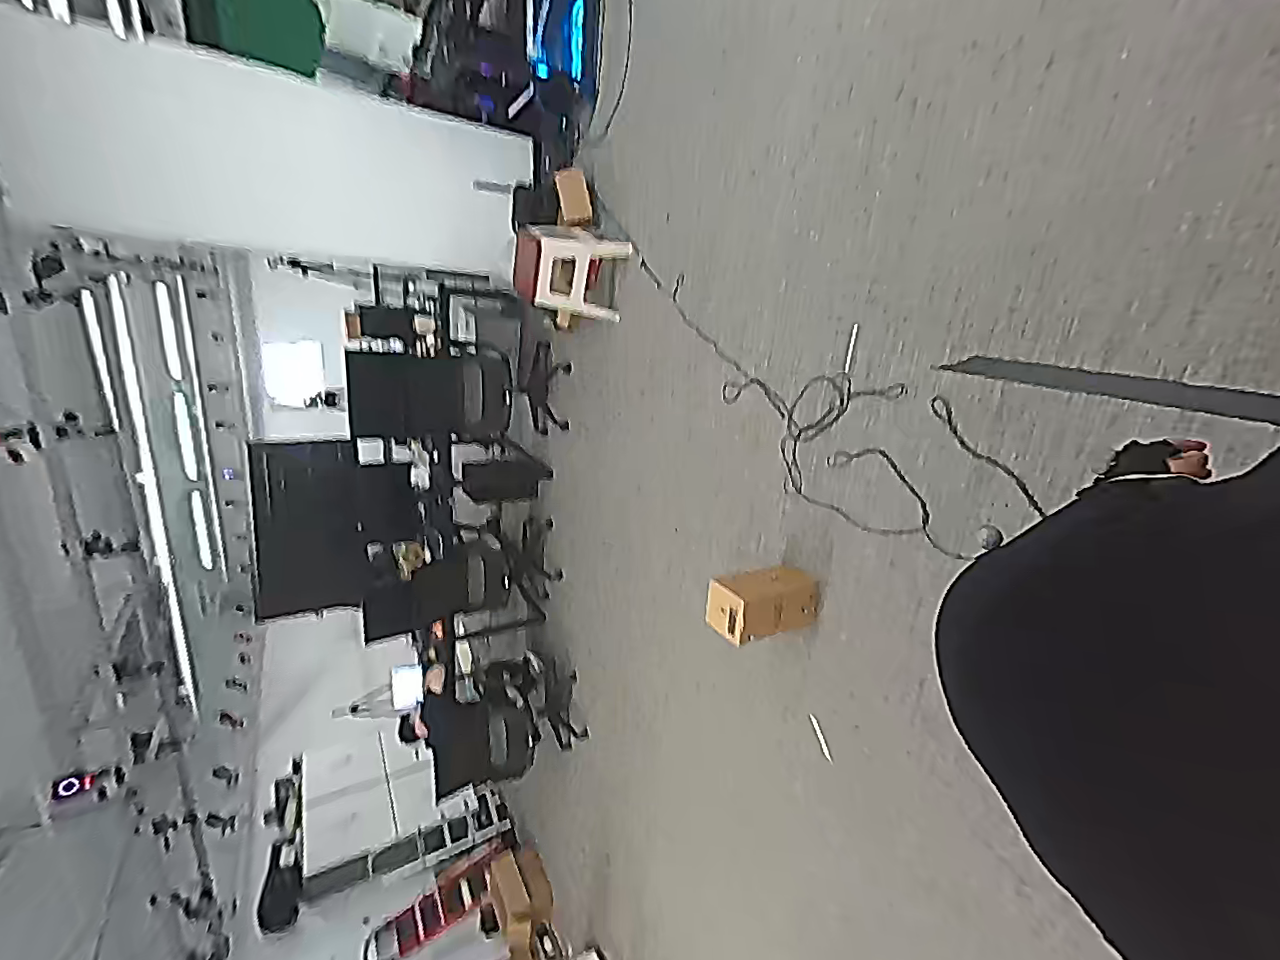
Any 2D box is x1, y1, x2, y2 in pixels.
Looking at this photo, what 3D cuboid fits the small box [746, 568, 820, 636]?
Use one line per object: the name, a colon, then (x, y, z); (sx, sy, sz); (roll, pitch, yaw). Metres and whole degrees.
small box: (0.495, 0.416, 1.877); (0.179, 0.176, 0.168); (20, 112, 56)
